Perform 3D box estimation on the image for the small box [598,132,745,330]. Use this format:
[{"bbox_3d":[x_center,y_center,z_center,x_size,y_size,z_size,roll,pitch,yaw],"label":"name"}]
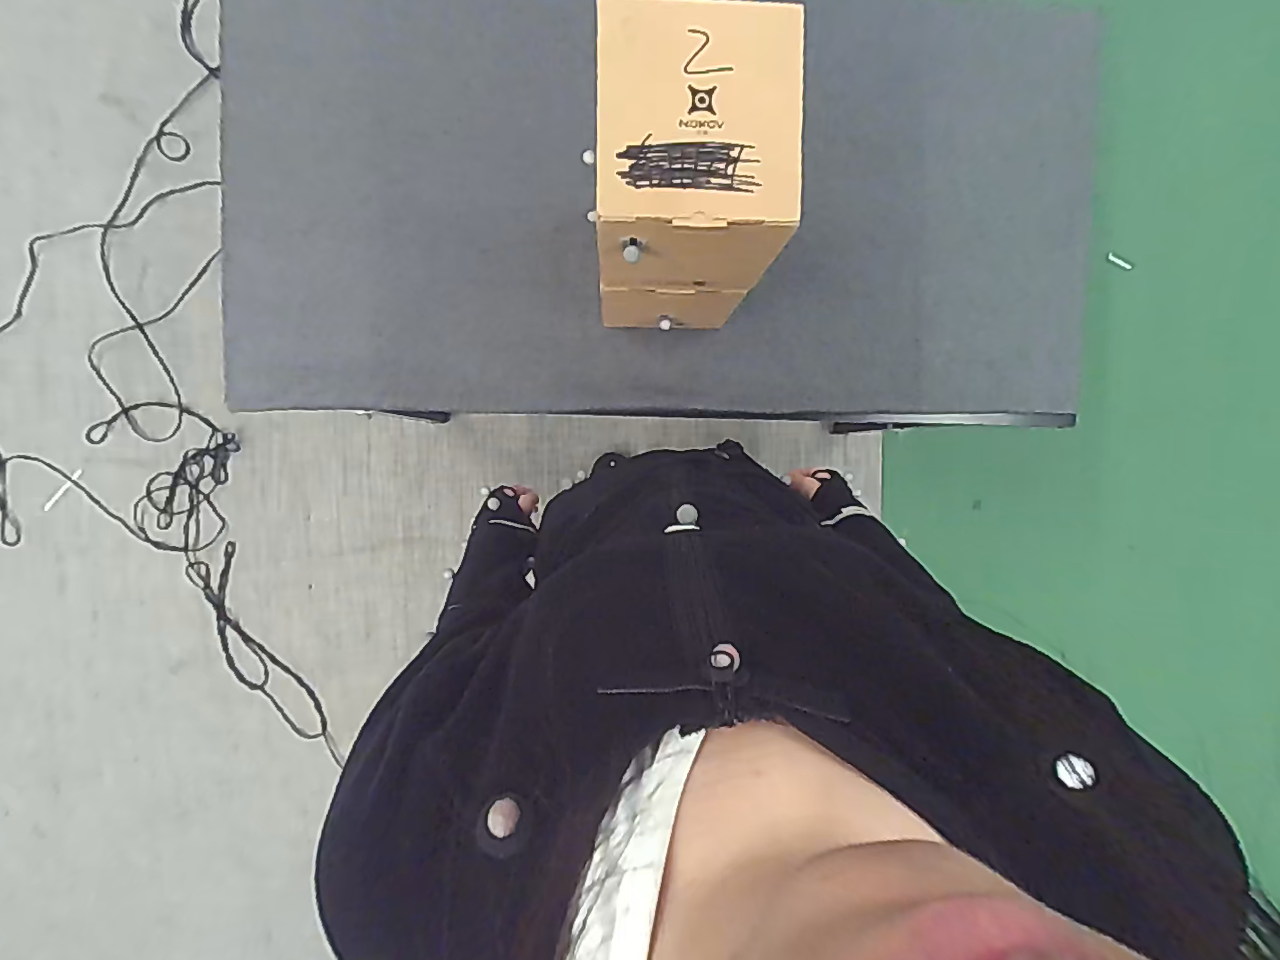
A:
[{"bbox_3d":[0.031,-0.297,0.678,0.168,0.176,0.179,-1,92,-3],"label":"small box"}]
